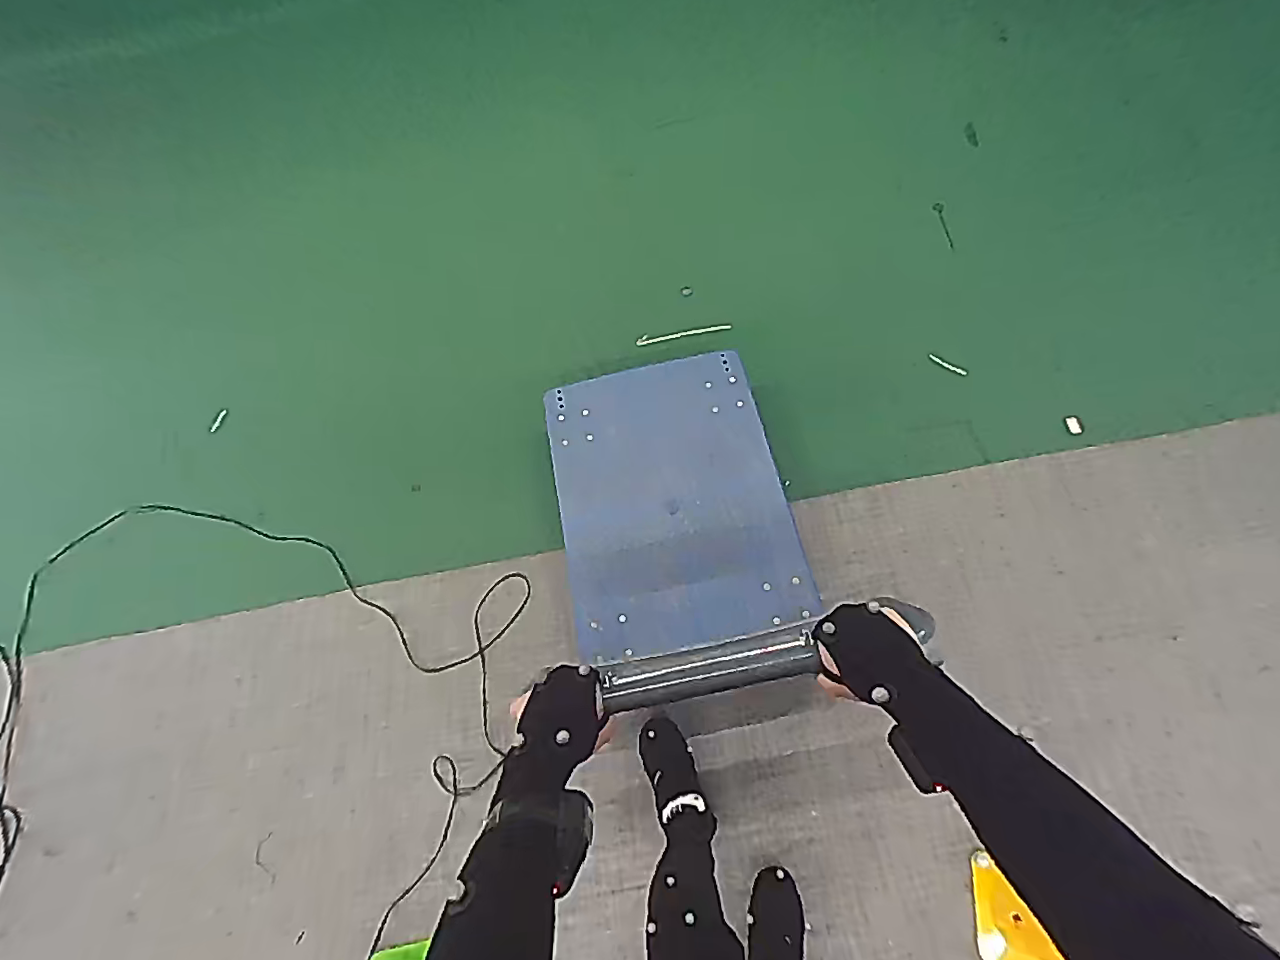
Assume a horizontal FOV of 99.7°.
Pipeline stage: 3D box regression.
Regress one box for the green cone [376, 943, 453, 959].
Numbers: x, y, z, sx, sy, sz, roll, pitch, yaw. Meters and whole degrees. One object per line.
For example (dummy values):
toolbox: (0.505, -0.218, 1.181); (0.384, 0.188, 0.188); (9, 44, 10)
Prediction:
green cone: (-0.518, 1.081, 1.021); (0.202, 0.368, 0.200); (-16, 66, 2)
